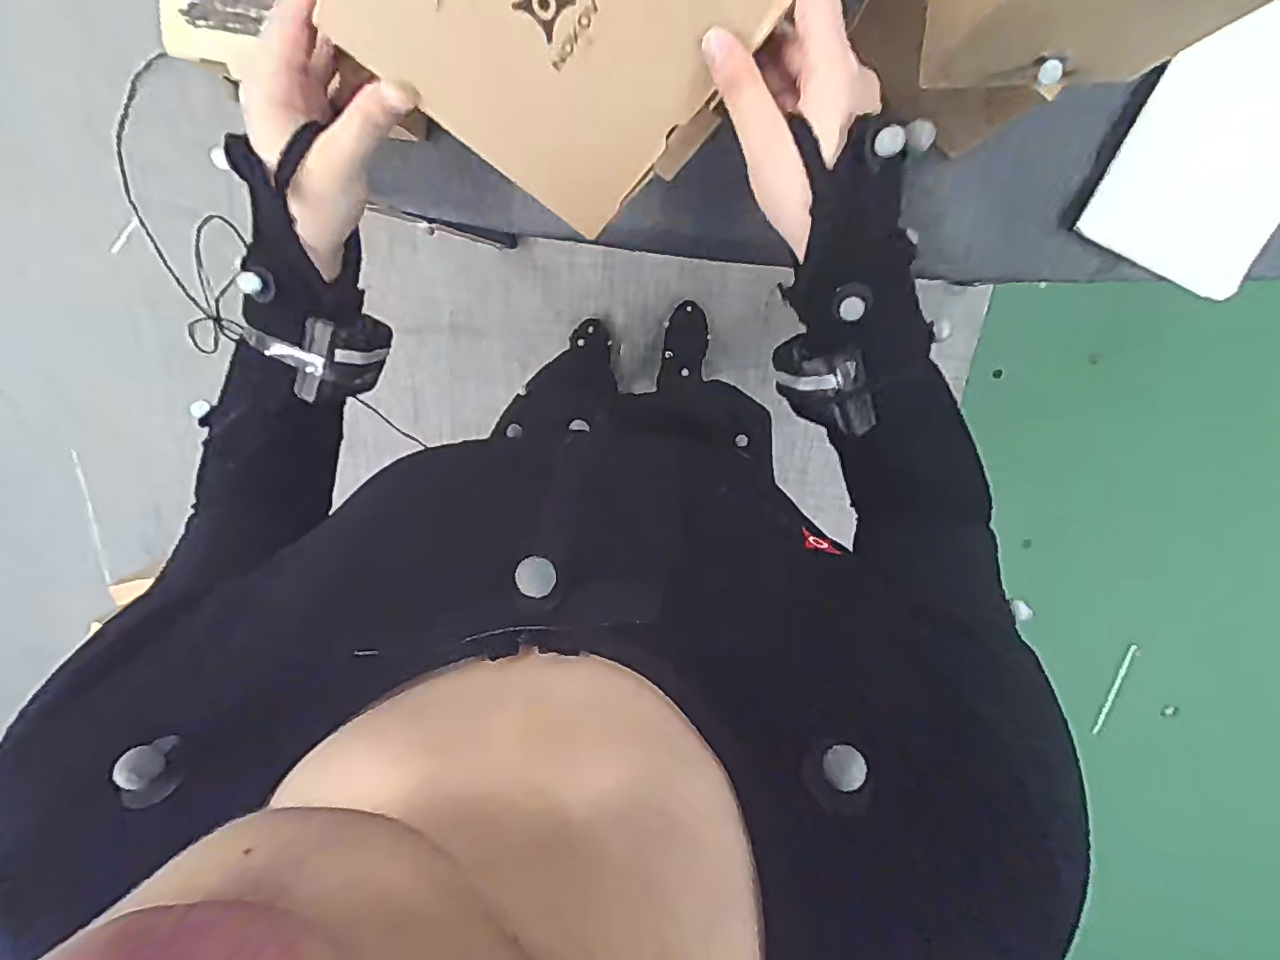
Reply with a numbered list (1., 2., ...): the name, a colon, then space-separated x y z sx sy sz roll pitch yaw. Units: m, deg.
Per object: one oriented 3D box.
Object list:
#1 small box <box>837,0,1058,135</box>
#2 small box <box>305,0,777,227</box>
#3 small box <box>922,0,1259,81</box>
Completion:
1. small box: 0.312 -0.448 0.486 0.179 0.176 0.168 34 107 -5
2. small box: -0.045 -0.297 0.306 0.179 0.176 0.168 28 136 -30
3. small box: 0.299 -0.383 0.335 0.168 0.176 0.179 2 108 5
